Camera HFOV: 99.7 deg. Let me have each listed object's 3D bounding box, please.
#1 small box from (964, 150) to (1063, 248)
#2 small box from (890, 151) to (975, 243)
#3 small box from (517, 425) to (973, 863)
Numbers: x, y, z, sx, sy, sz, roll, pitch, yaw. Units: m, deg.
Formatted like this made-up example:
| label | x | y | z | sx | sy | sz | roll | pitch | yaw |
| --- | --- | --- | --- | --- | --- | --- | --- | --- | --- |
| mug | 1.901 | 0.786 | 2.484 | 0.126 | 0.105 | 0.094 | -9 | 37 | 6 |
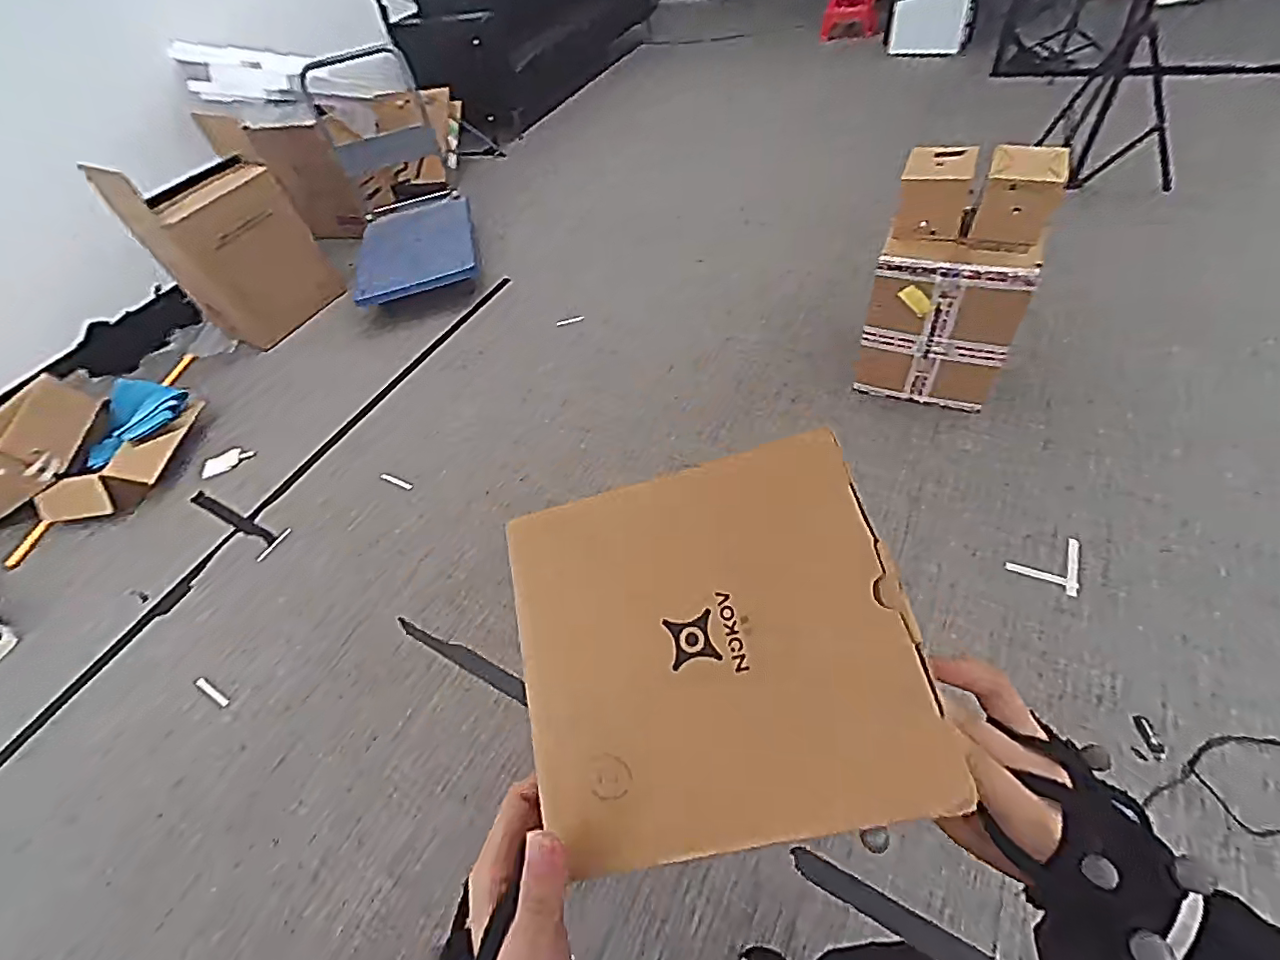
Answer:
| label | x | y | z | sx | sy | sz | roll | pitch | yaw |
| --- | --- | --- | --- | --- | --- | --- | --- | --- | --- |
| small box | 0.984 | -0.746 | 1.429 | 0.168 | 0.176 | 0.179 | 18 | 59 | 20 |
| small box | 0.806 | -0.785 | 1.501 | 0.168 | 0.176 | 0.179 | 14 | 58 | 25 |
| small box | 0.050 | 0.096 | 0.319 | 0.179 | 0.176 | 0.168 | -16 | 67 | 8 |
